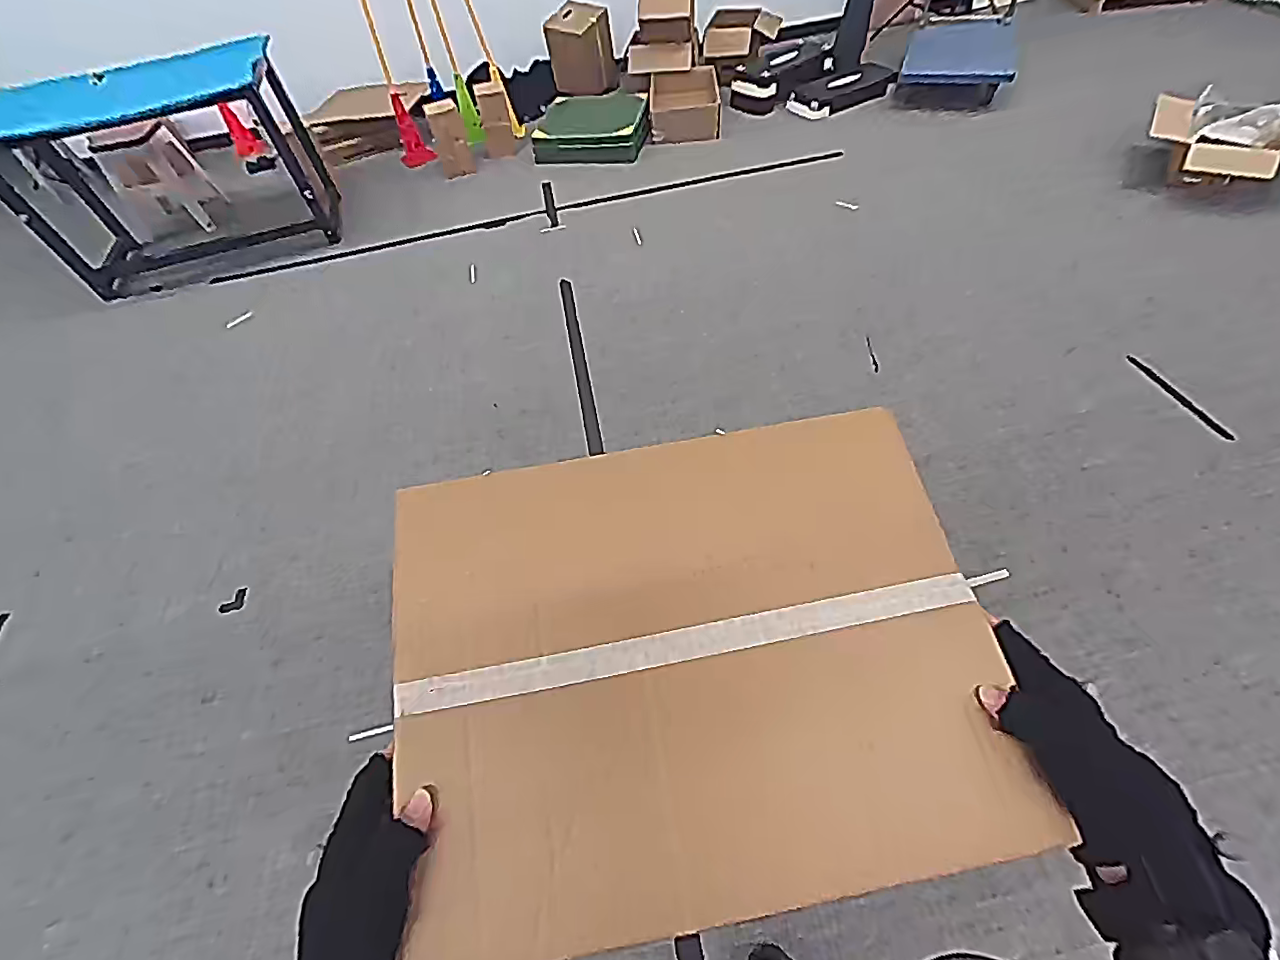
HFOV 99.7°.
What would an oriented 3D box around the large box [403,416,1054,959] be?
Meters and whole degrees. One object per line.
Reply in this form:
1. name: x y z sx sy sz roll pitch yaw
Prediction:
1. large box: 0.041 0.179 0.516 0.408 0.320 0.320 -11 65 -3
